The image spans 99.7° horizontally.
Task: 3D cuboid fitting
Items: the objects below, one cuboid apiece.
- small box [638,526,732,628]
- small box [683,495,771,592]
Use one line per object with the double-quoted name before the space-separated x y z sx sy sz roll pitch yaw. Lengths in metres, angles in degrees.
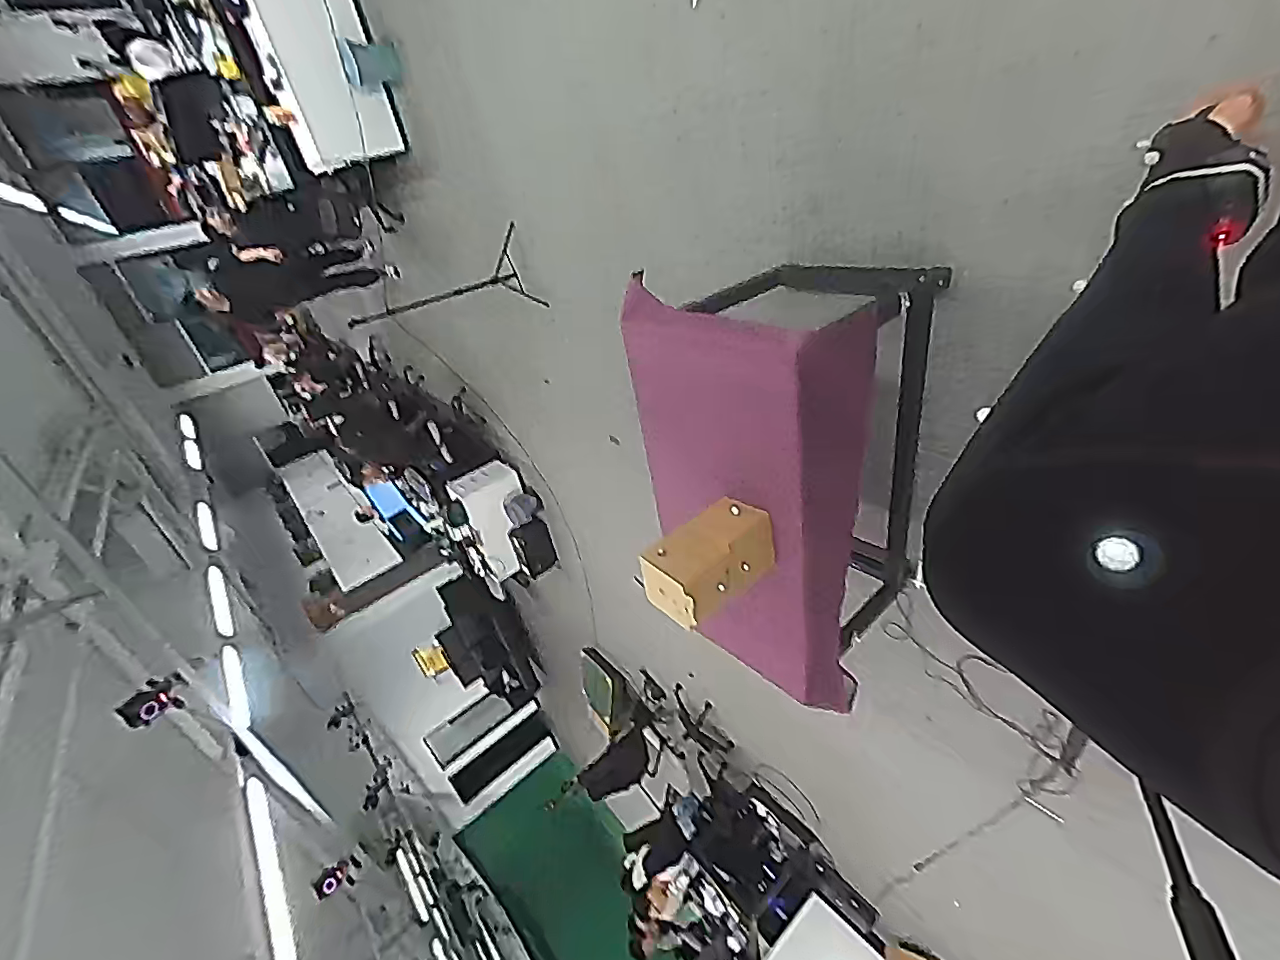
"small box" 0.121 0.245 1.422 0.179 0.176 0.168 28 140 43
"small box" 0.247 0.170 1.497 0.168 0.176 0.179 22 134 48
